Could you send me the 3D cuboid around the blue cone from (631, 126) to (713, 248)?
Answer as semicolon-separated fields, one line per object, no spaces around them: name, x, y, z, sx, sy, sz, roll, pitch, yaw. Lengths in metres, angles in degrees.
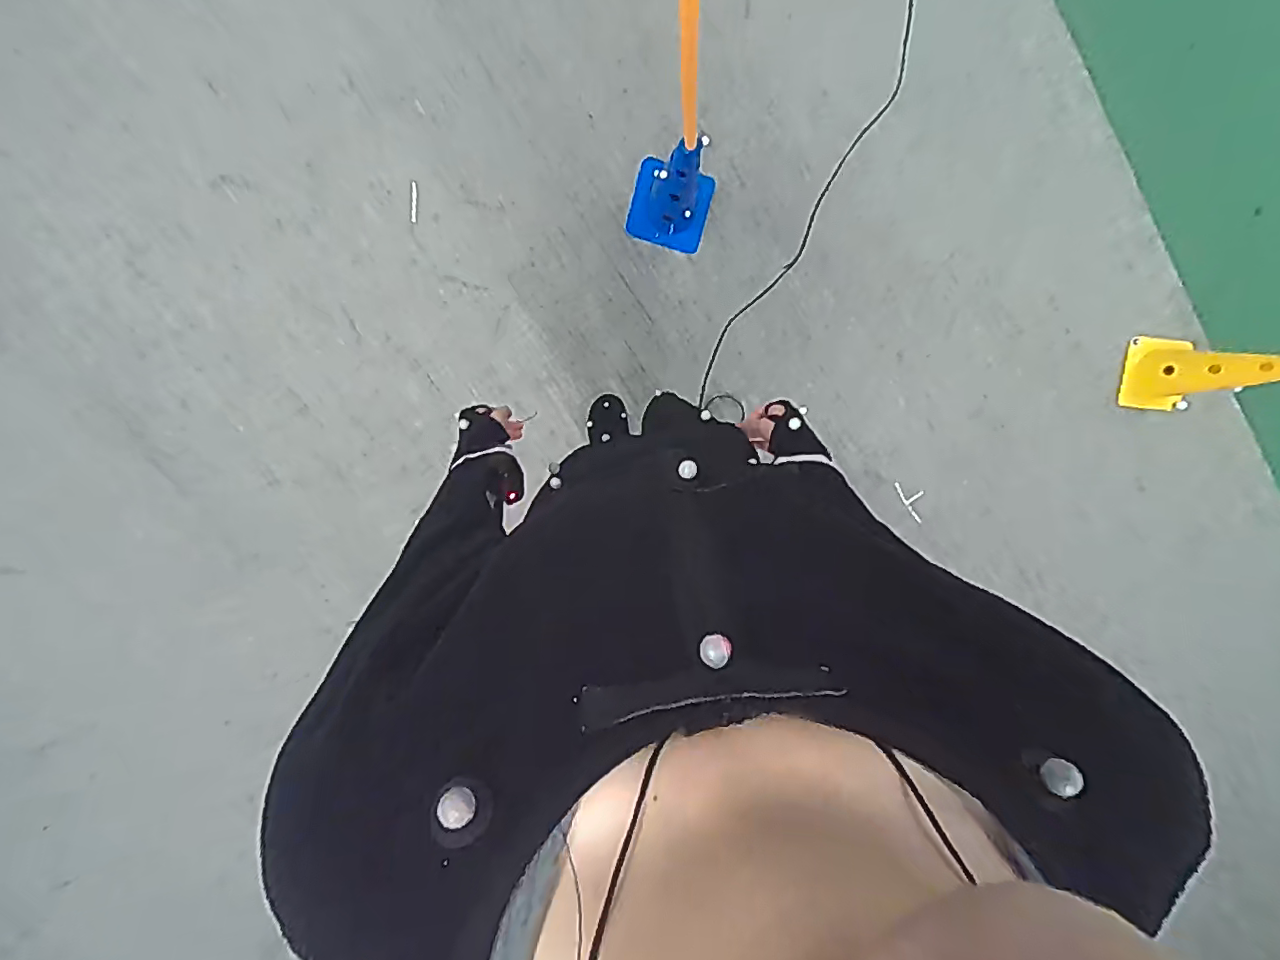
blue cone;0.087;-0.676;1.216;0.193;0.380;0.192;14;98;-5
